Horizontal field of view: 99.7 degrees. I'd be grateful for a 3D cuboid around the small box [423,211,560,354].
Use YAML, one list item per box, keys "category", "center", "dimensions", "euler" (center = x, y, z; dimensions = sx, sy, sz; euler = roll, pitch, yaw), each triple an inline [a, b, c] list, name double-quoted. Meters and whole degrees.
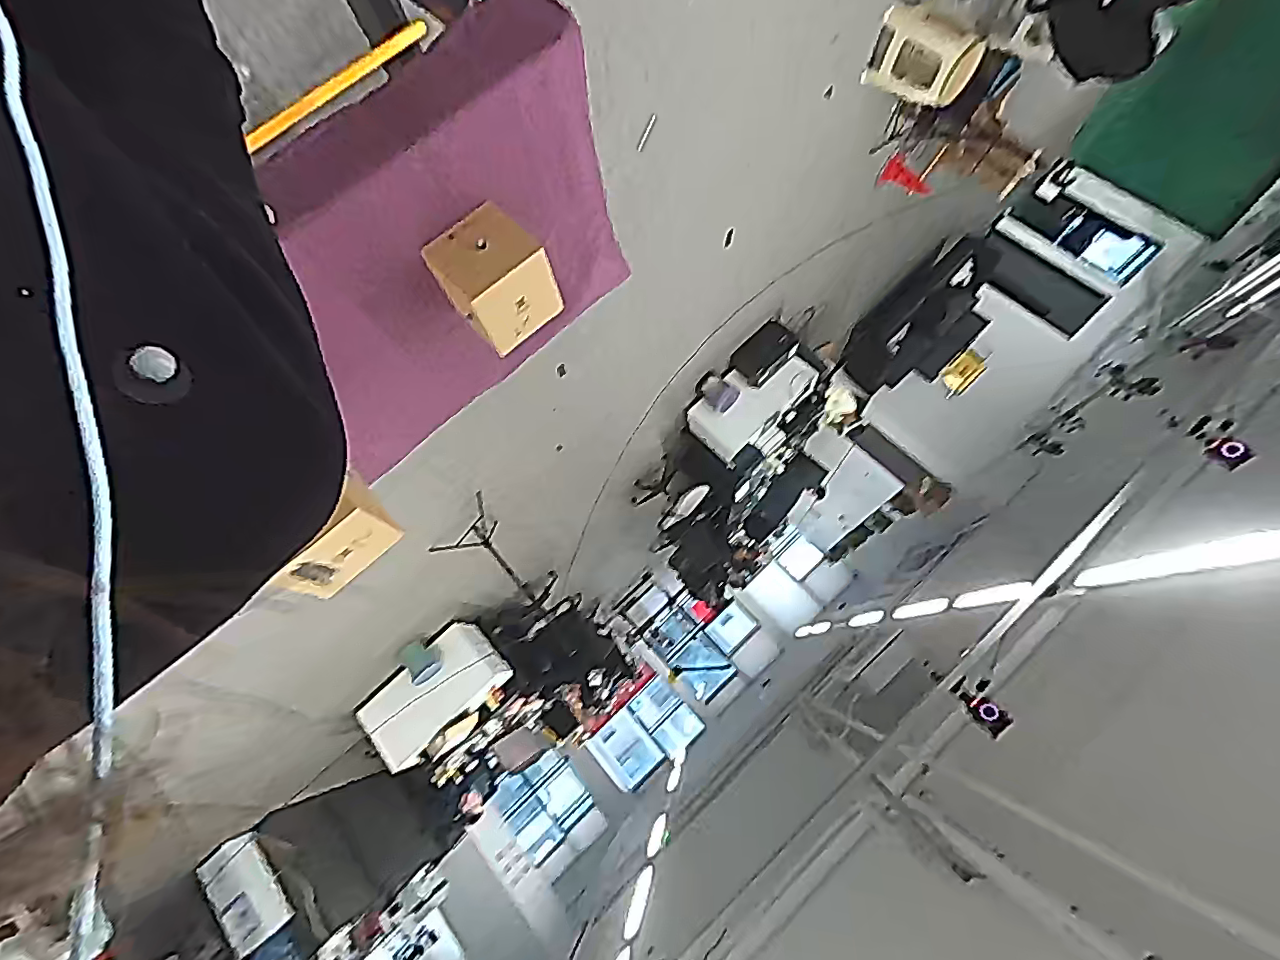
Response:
- category: "small box"
  center: [-0.286, -0.390, 1.055]
  dimensions: [0.168, 0.176, 0.179]
  euler: [-41, 162, -10]
